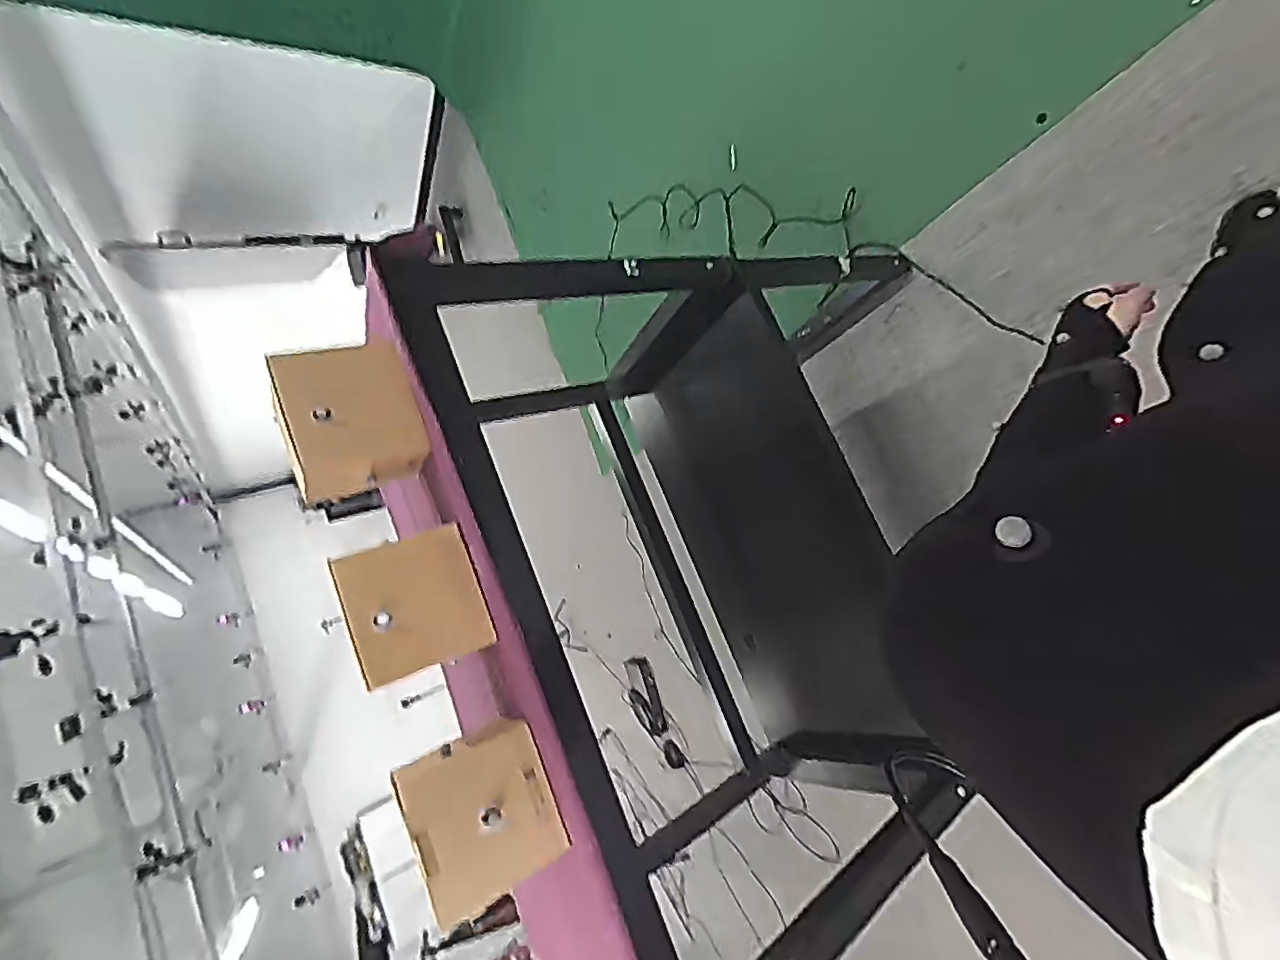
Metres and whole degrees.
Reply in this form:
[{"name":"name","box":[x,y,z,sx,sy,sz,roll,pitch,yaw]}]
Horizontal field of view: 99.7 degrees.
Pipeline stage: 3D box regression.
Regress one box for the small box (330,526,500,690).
[{"name":"small box","box":[-0.319,0.177,0.764,0.168,0.176,0.179,-36,75,57]}]

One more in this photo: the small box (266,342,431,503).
[{"name":"small box","box":[-0.428,-0.087,0.804,0.168,0.176,0.179,-30,80,55]}]

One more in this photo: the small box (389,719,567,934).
[{"name":"small box","box":[-0.213,0.434,0.716,0.179,0.176,0.168,-38,72,56]}]
